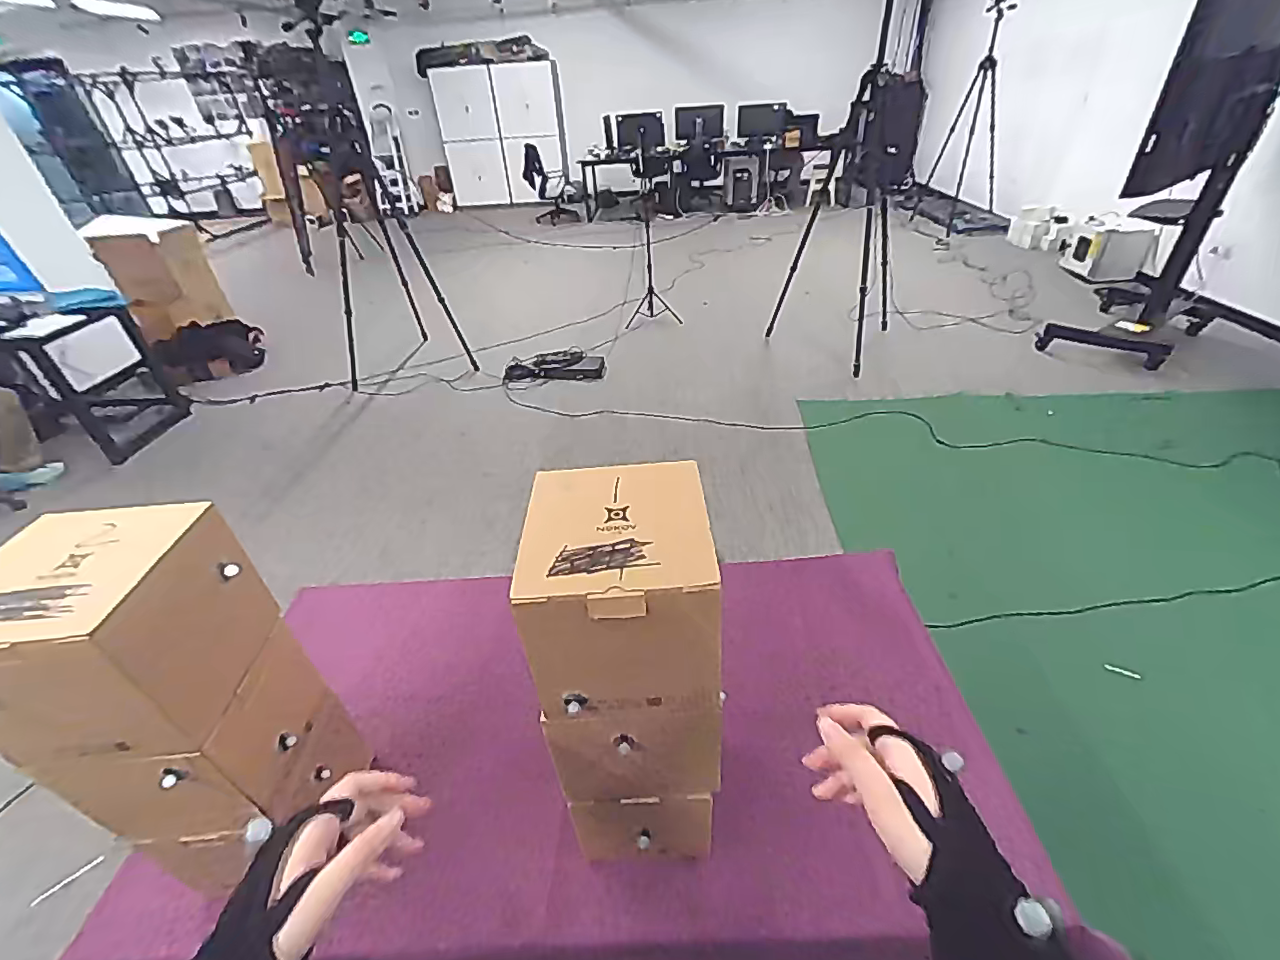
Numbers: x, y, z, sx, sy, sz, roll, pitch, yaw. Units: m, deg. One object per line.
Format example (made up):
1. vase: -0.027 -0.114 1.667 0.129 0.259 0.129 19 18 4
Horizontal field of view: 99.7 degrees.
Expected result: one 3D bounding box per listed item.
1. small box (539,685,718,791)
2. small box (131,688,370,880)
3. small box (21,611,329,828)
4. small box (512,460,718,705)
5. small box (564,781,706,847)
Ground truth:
1. small box: -0.007 0.236 0.623 0.179 0.176 0.168 -3 37 1
2. small box: -0.489 0.405 0.718 0.168 0.176 0.179 -3 36 -1
3. small box: -0.501 0.274 0.622 0.179 0.176 0.168 -4 37 -3
4. small box: -0.015 0.101 0.529 0.168 0.176 0.179 -3 35 1
5. small box: 0.000 0.368 0.723 0.168 0.176 0.179 -3 37 1
